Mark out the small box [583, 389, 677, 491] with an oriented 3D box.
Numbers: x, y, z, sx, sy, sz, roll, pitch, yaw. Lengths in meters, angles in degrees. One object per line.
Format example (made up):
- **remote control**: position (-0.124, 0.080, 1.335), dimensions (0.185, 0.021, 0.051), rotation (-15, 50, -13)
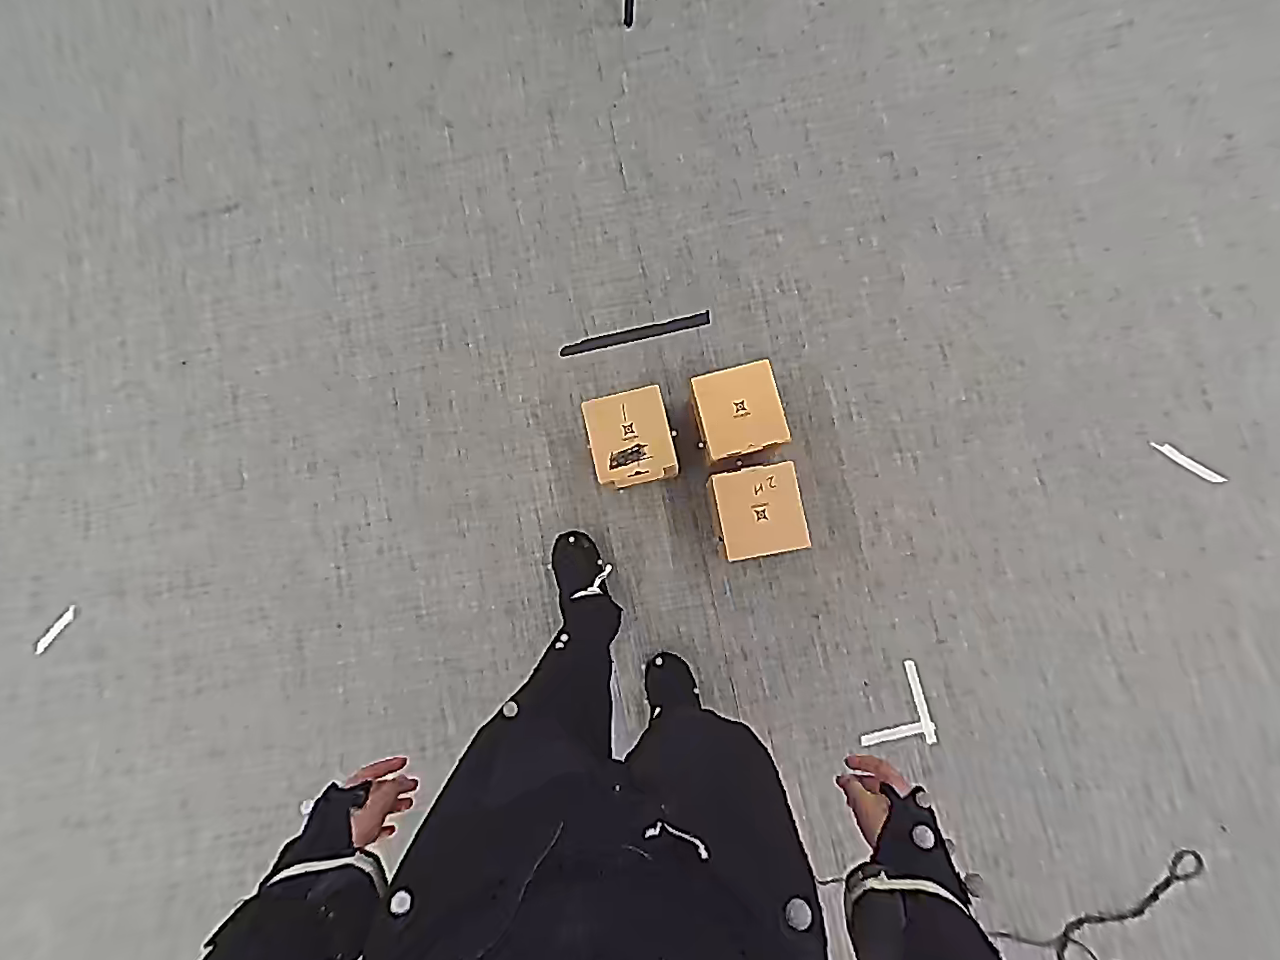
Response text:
- **small box**: position (-0.015, -0.077, 1.170), dimensions (0.168, 0.176, 0.179), rotation (-13, 82, 1)
